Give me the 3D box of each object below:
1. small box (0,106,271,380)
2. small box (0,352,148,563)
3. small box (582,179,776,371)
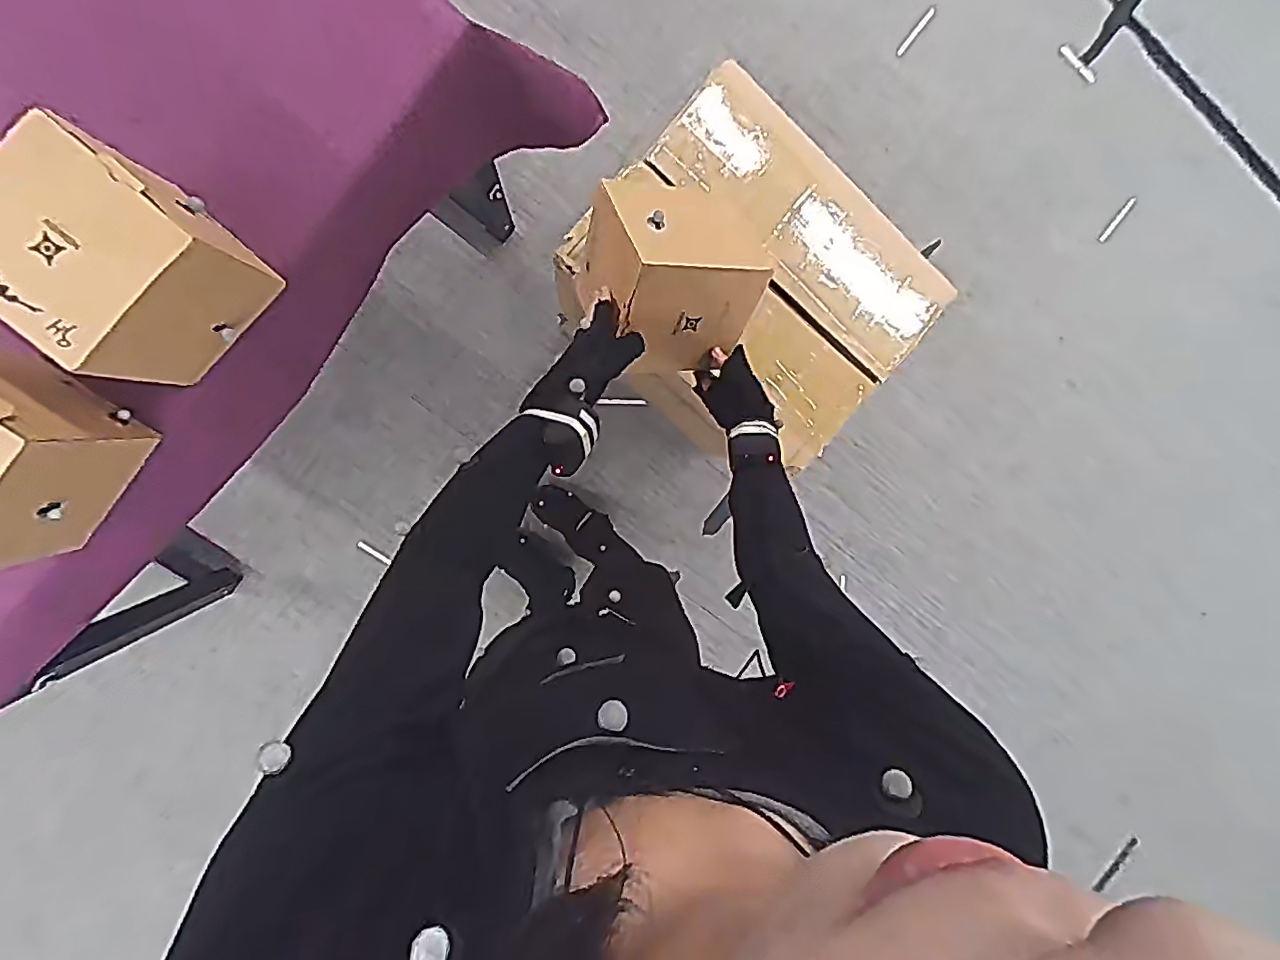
[{"bbox_3d":[-0.541,-0.228,0.574,0.168,0.176,0.179,42,88,-8],"label":"small box"},{"bbox_3d":[-0.691,-0.027,0.573,0.168,0.176,0.179,37,91,-8],"label":"small box"},{"bbox_3d":[0.035,-0.262,0.699,0.179,0.168,0.176,-8,60,-23],"label":"small box"}]
